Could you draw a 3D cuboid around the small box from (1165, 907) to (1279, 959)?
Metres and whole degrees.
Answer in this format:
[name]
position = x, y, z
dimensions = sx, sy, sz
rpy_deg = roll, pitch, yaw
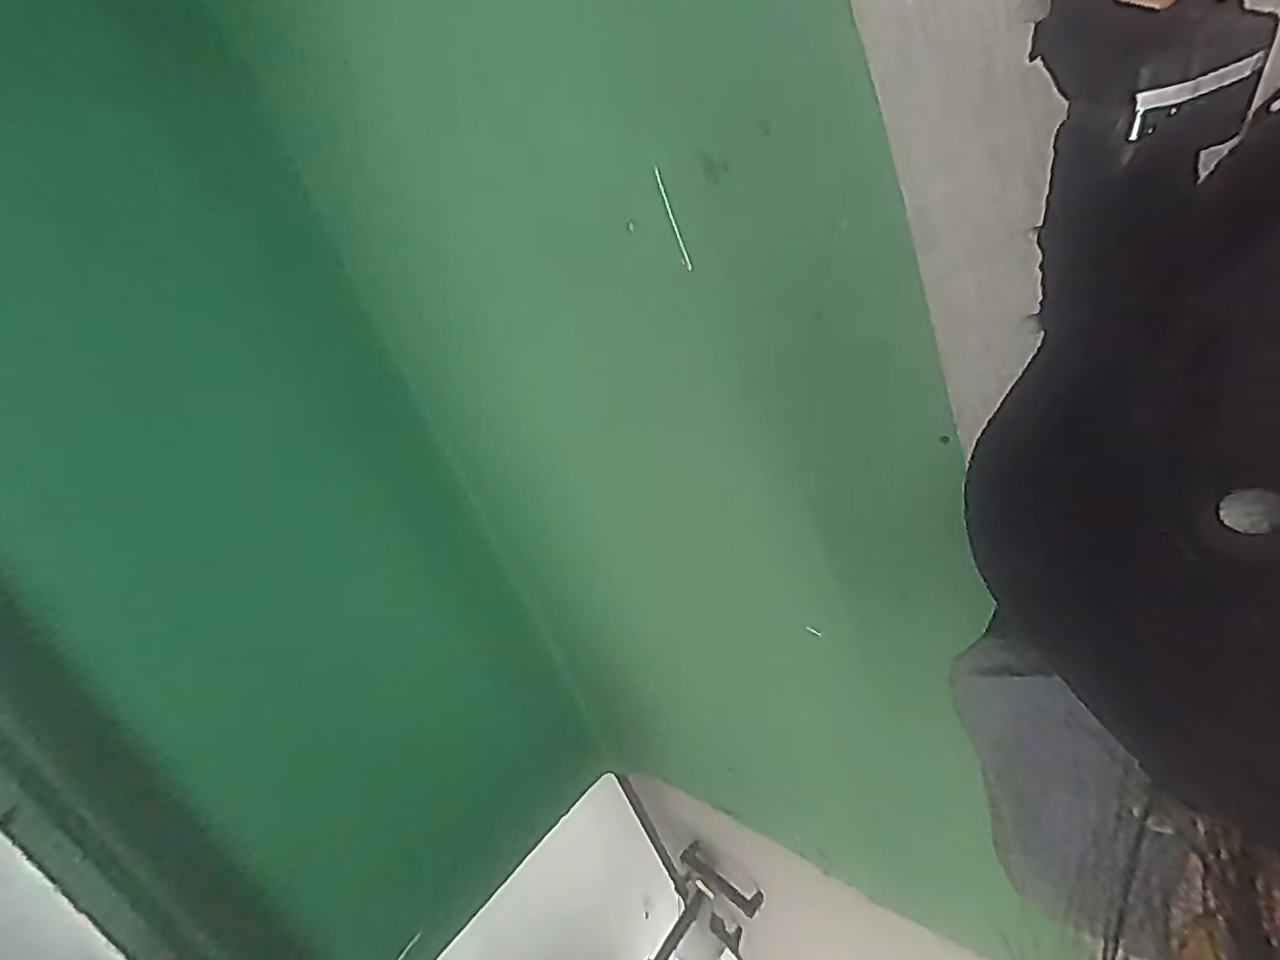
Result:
[small box]
position = 0.683, 0.621, 0.576
dimensions = 0.179, 0.176, 0.168
rpy_deg = 9, 123, 45
